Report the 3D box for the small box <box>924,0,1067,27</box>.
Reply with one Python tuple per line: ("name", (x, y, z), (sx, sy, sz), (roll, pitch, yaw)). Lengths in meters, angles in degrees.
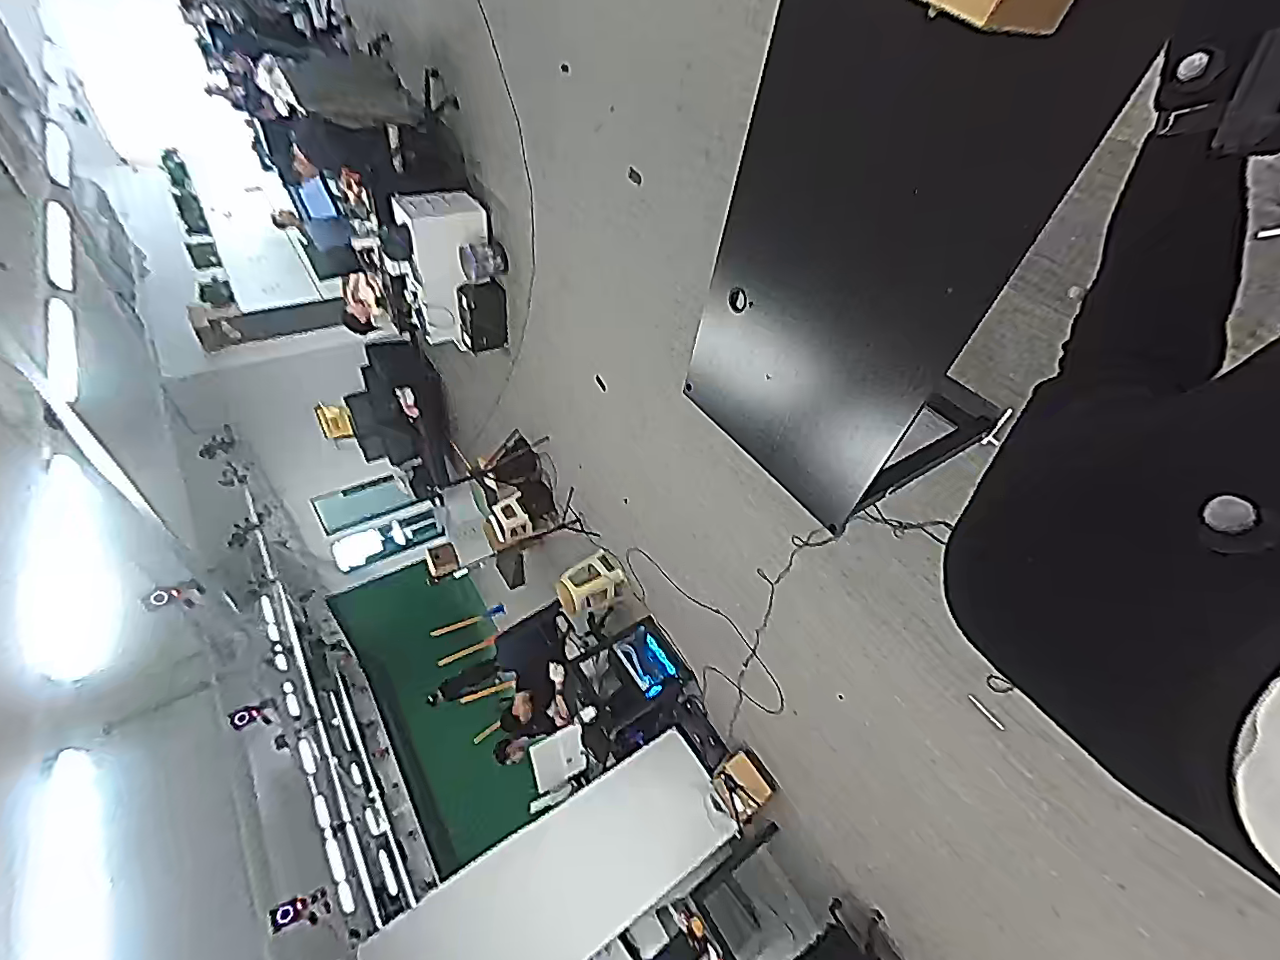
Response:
("small box", (0.416, -0.647, 0.616), (0.179, 0.176, 0.168), (54, 150, 24))
